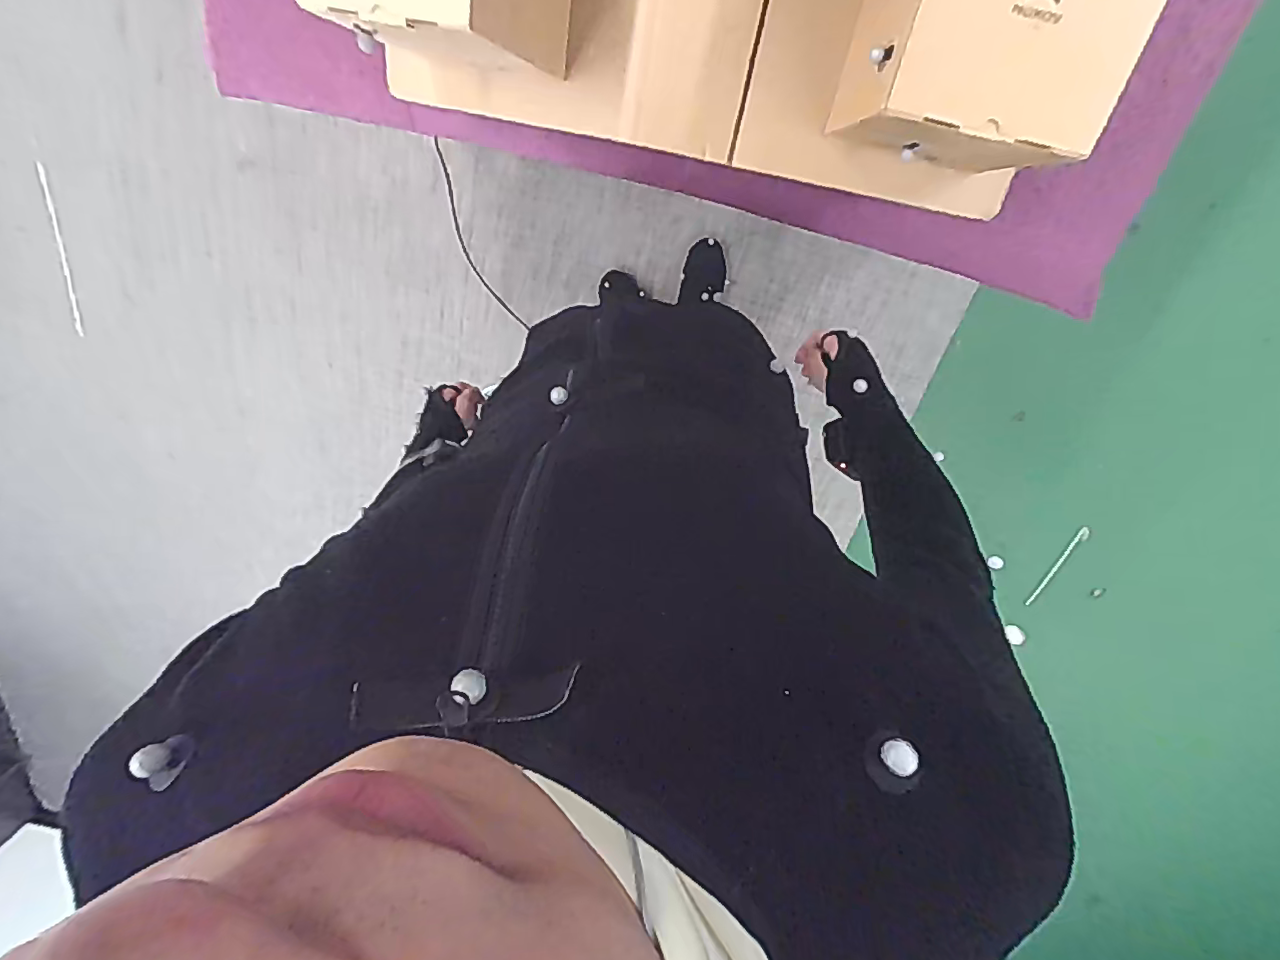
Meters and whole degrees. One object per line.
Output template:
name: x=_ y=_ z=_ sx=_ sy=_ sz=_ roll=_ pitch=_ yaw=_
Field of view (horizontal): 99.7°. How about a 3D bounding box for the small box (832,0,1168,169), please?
small box: x=0.277 y=-0.368 z=0.438 sx=0.168 sy=0.176 sz=0.179 roll=10 pitch=118 yaw=-3
